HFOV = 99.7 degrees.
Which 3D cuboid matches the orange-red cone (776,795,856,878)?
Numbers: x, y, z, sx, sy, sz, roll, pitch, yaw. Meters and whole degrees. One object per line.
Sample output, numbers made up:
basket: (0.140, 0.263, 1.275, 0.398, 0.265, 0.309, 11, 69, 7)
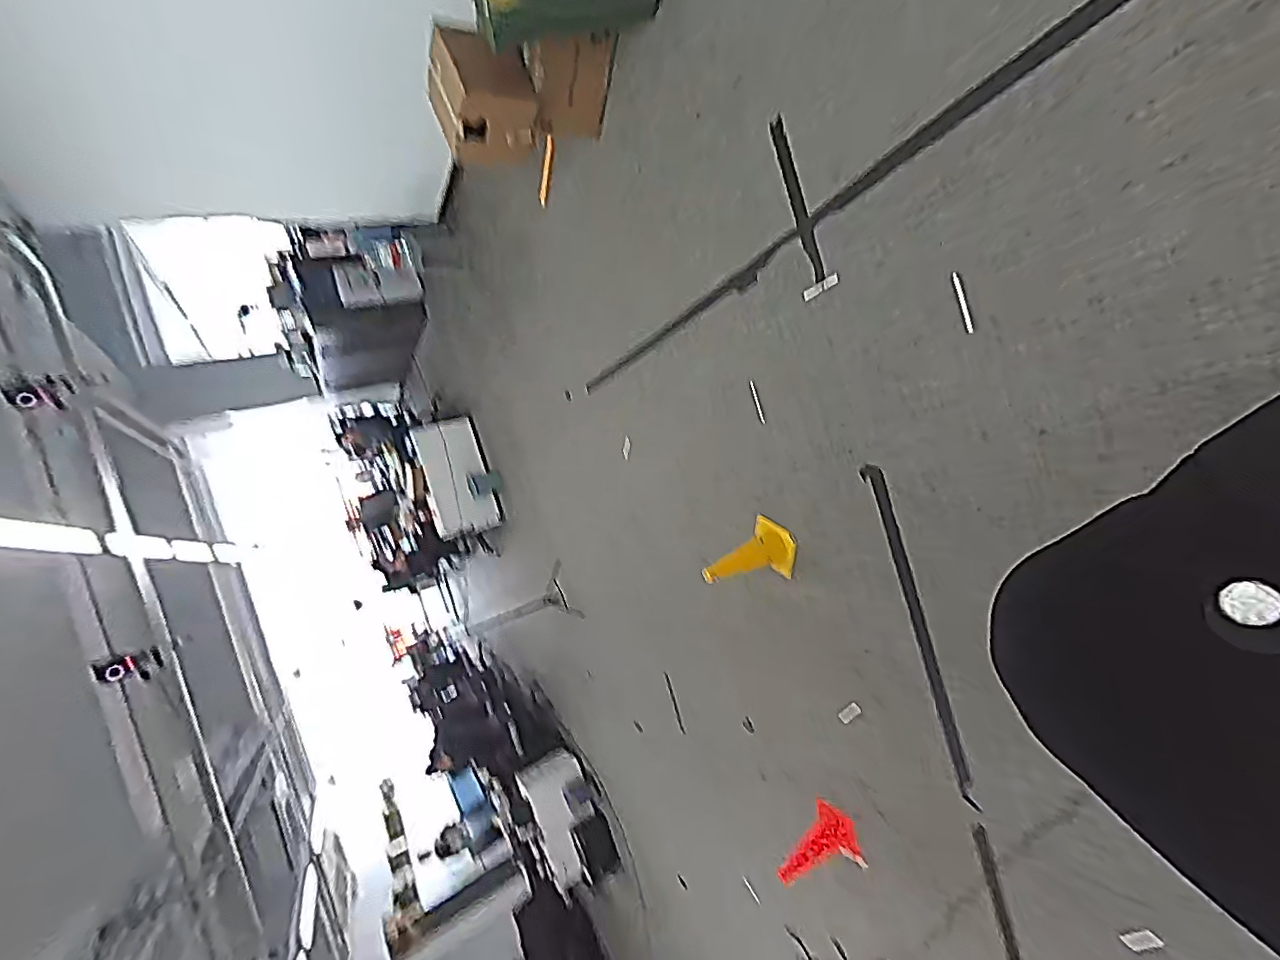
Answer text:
orange-red cone: (0.709, 1.542, 2.271, 0.198, 0.360, 0.199, 0, 104, 59)
